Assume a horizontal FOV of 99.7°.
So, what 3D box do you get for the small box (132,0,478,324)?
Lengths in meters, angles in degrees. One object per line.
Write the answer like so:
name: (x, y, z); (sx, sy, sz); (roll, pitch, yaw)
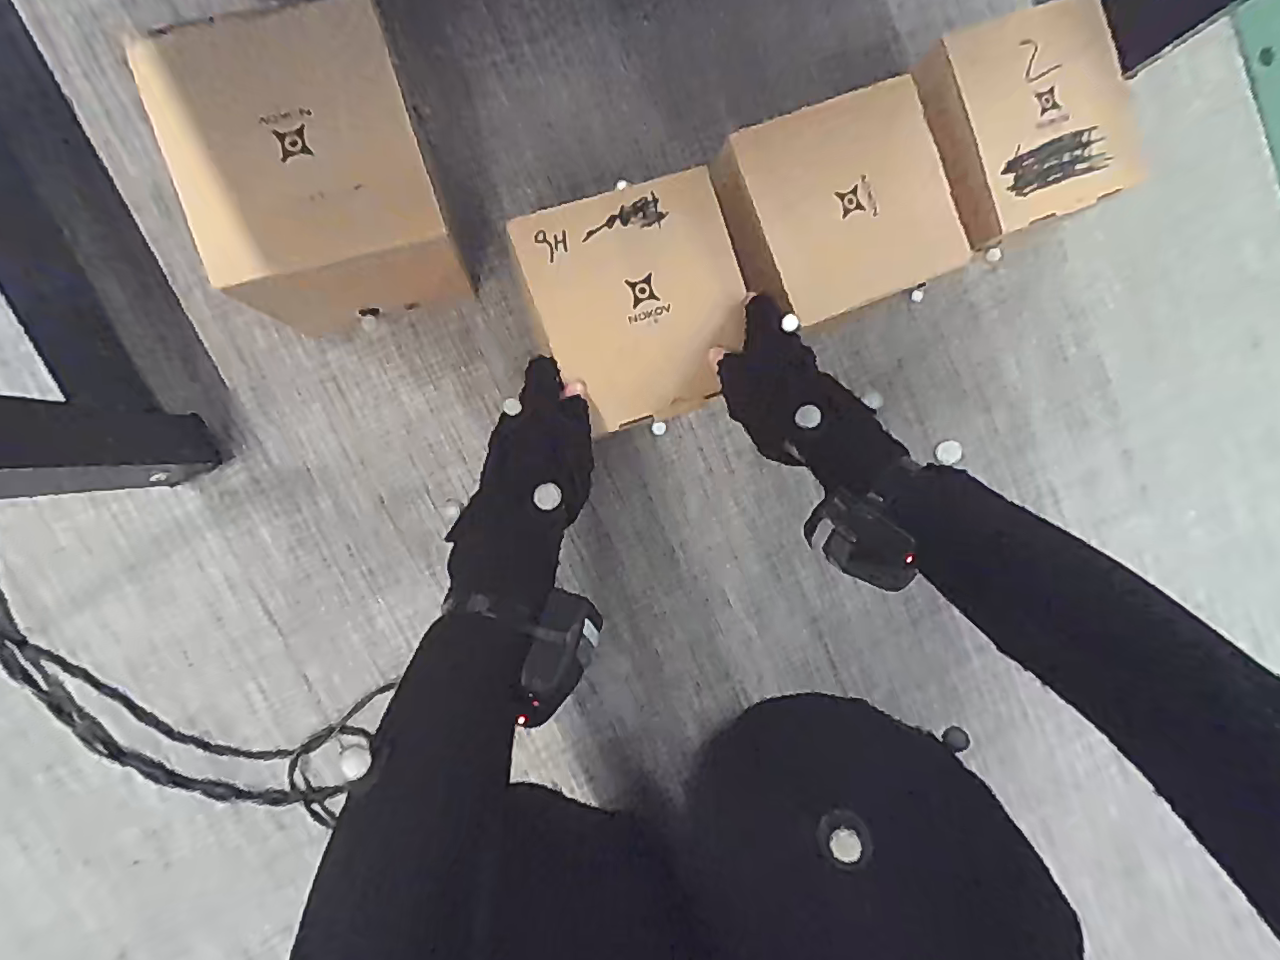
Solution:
small box: (-0.247, -0.251, 0.450); (0.168, 0.176, 0.179); (-17, 94, -8)
